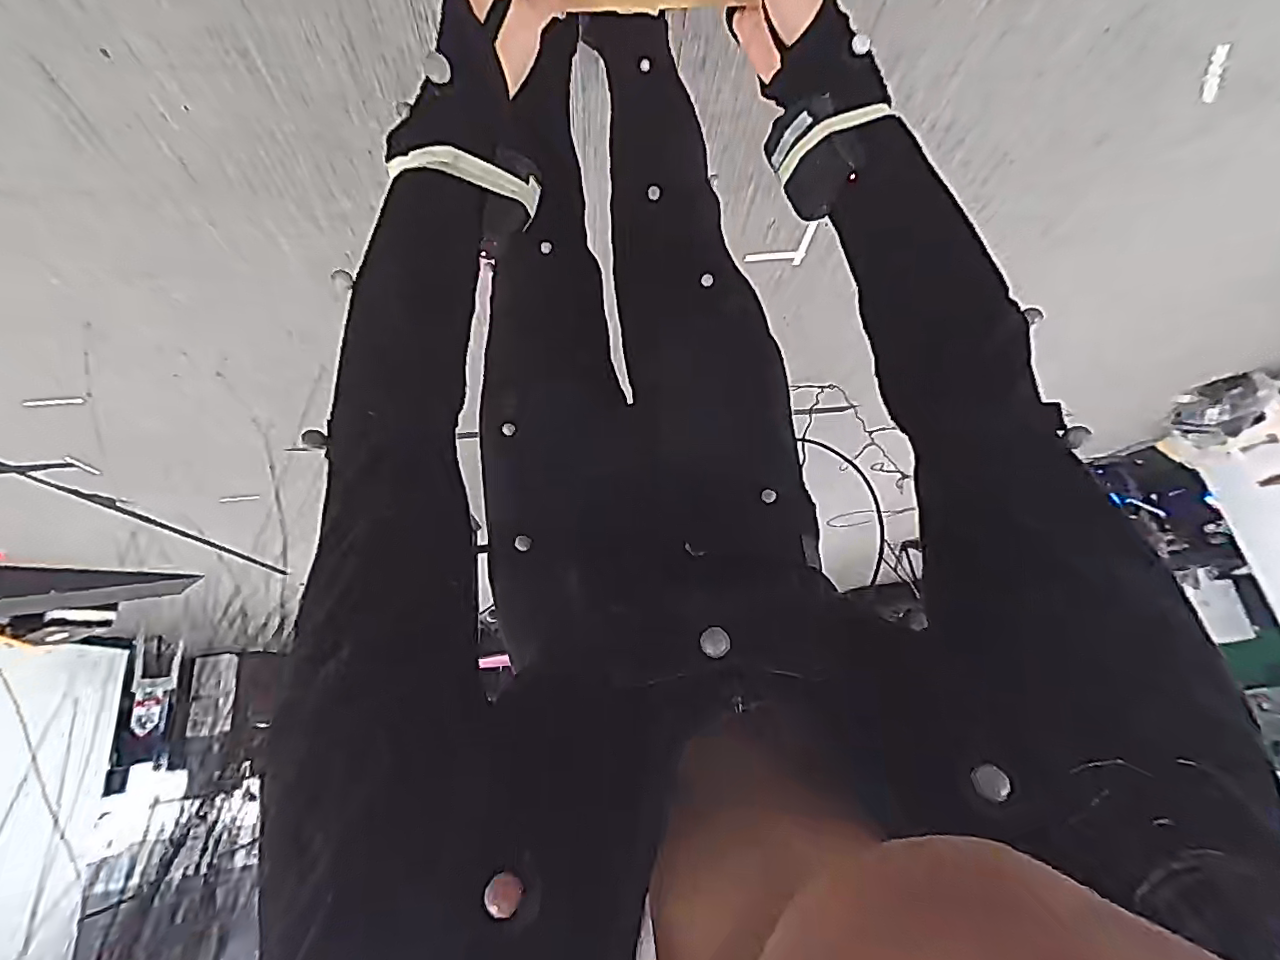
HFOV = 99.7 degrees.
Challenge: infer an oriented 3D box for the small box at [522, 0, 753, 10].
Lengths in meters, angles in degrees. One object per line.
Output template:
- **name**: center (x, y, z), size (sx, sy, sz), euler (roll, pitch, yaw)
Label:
- **small box**: center (-0.002, -0.444, 0.336), size (0.179, 0.176, 0.168), euler (-3, 163, -1)
